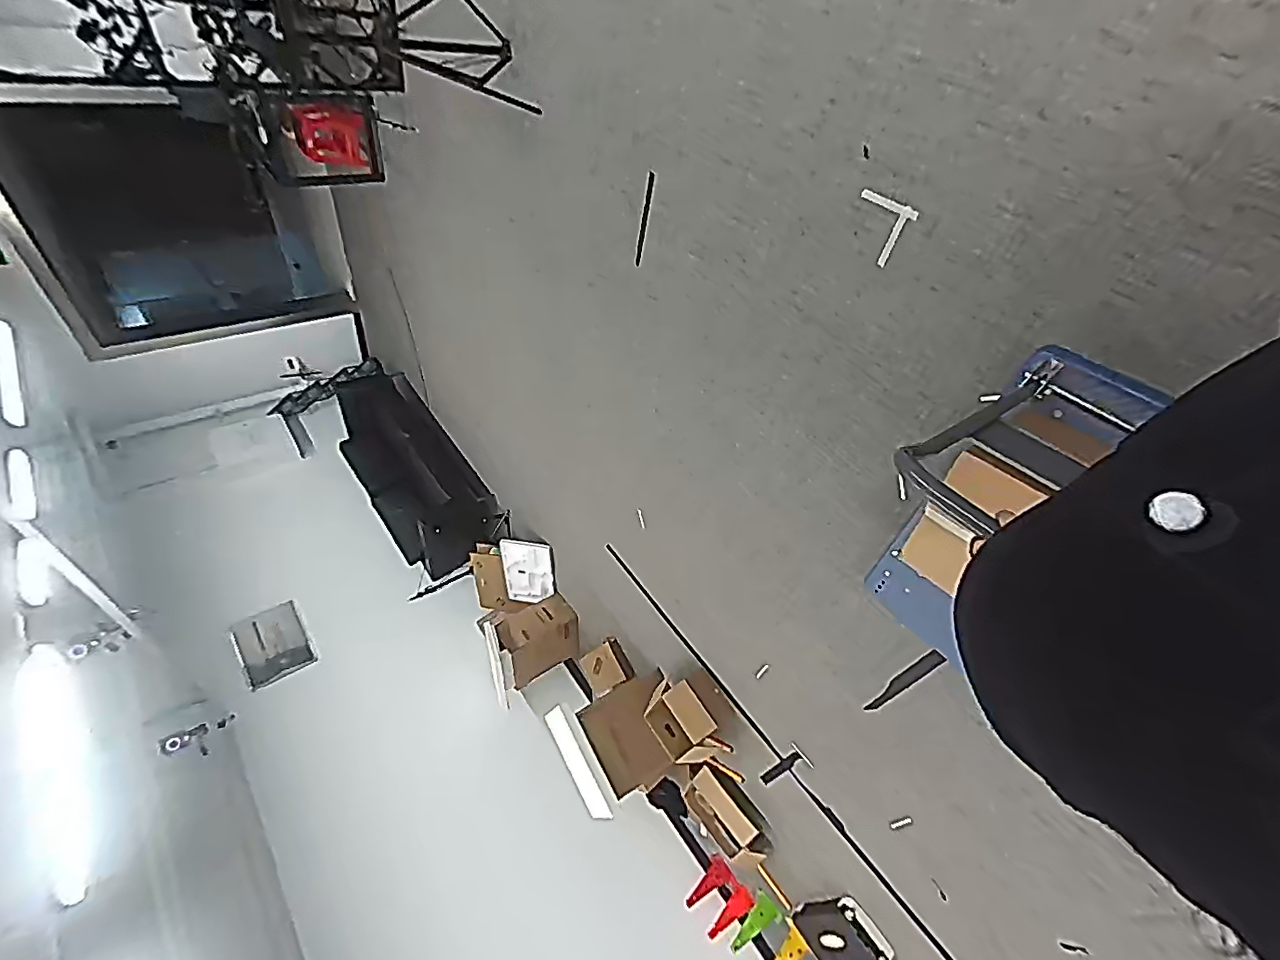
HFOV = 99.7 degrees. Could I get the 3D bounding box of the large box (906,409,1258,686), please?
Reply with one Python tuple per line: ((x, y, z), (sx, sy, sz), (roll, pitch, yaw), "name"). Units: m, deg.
((0.854, 0.113, 1.091), (0.408, 0.320, 0.320), (43, 141, 34), "large box")
